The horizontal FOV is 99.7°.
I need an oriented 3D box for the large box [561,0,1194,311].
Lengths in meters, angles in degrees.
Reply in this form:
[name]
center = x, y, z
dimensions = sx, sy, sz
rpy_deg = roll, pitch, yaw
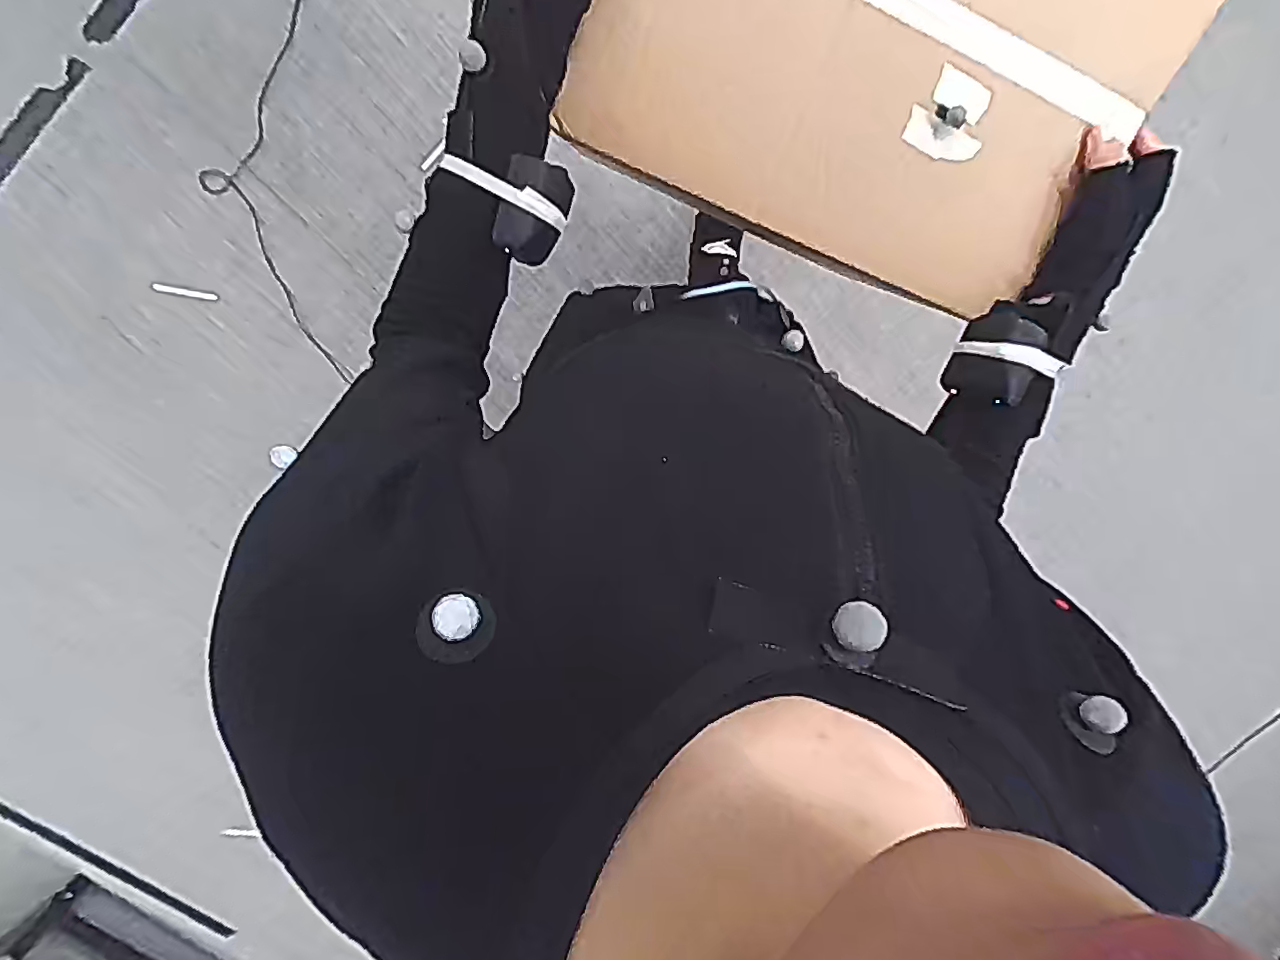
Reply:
[large box]
center = 0.168, -0.403, 0.506
dimensions = 0.408, 0.320, 0.320
rpy_deg = 18, 117, -13
